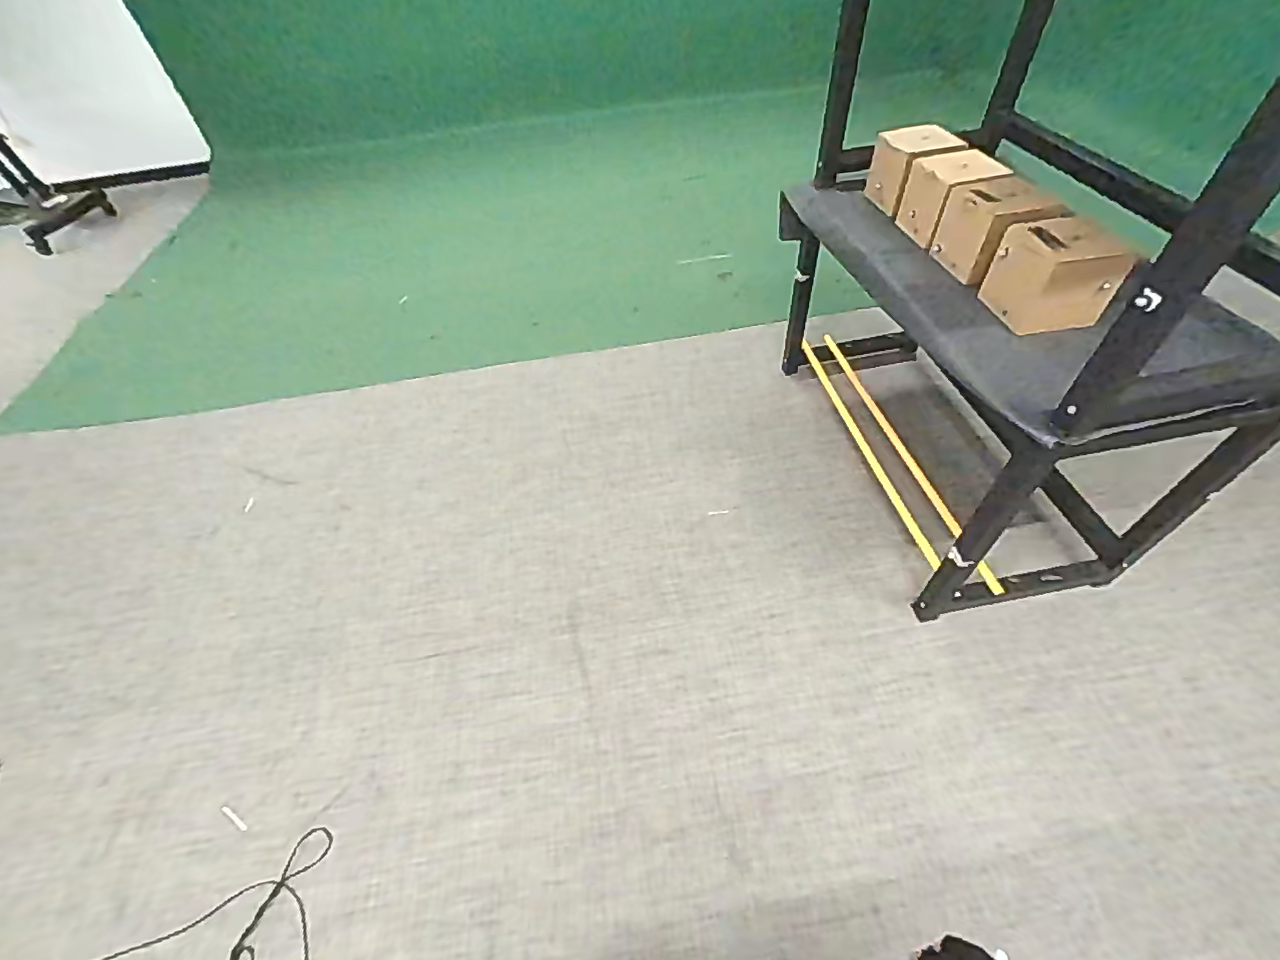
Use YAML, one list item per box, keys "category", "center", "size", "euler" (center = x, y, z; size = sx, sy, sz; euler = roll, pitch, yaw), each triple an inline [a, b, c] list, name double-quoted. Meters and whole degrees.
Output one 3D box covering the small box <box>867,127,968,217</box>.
- category: "small box"
  center: [0.783, -0.879, 1.547]
  size: [0.179, 0.176, 0.168]
  euler: [-12, 50, -4]
